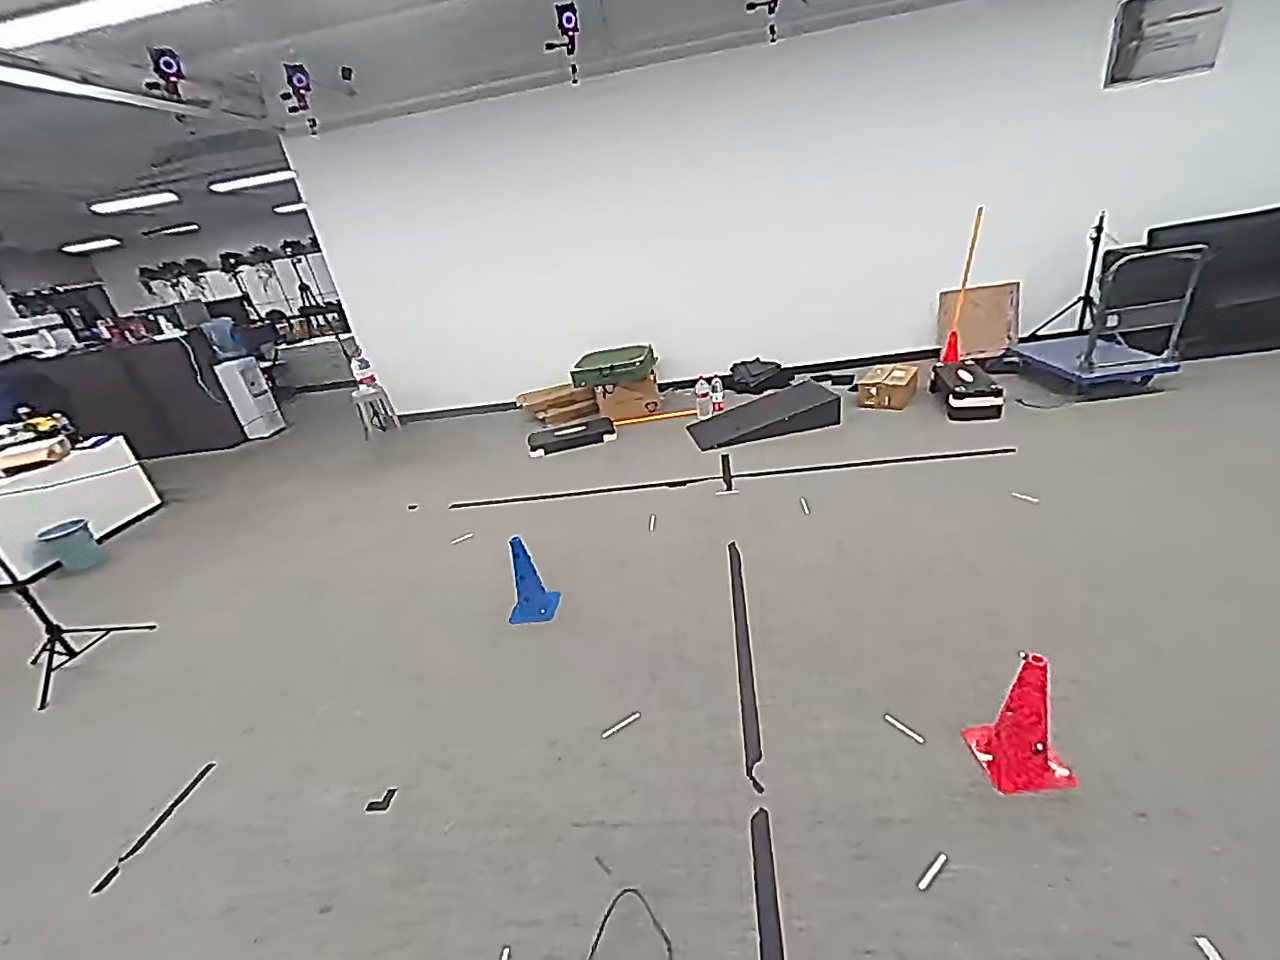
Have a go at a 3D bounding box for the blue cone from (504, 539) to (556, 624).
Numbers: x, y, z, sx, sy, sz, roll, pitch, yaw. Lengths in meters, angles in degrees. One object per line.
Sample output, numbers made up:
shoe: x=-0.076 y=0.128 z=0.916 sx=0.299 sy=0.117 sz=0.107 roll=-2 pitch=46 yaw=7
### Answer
blue cone: x=-0.498 y=0.416 z=2.291 sx=0.192 sy=0.380 sz=0.193 roll=-6 pitch=25 yaw=10

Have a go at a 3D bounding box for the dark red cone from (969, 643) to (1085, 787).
dark red cone: x=0.991 y=0.570 z=1.366 sx=0.201 sy=0.394 sz=0.202 roll=-10 pitch=25 yaw=2
